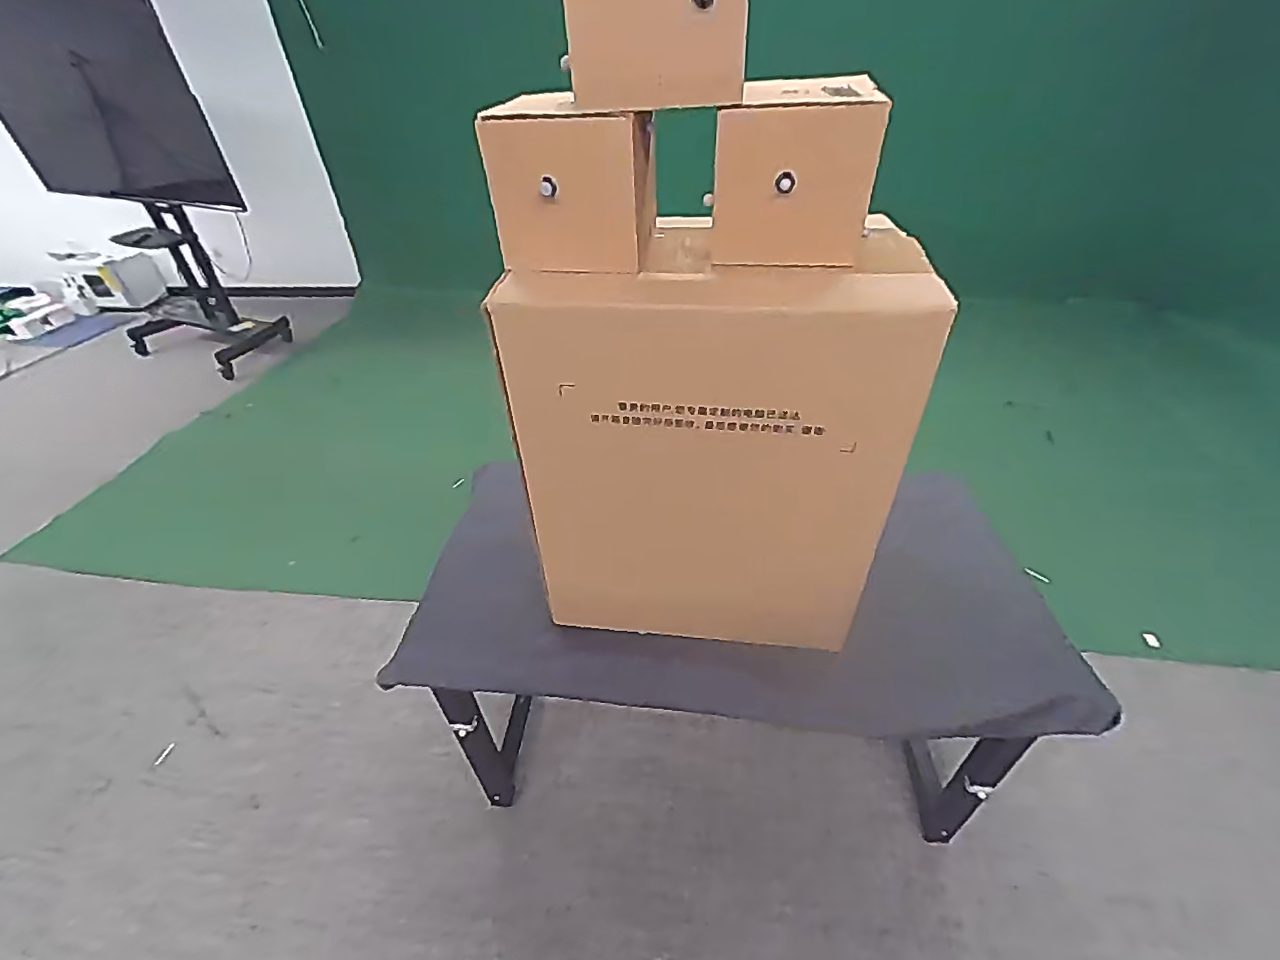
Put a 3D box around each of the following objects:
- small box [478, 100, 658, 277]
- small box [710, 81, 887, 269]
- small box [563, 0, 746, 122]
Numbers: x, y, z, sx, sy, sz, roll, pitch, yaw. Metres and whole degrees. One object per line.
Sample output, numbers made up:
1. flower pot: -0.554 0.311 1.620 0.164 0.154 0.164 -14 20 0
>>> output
1. small box: -0.076 -0.369 0.685 0.179 0.176 0.168 4 43 9
2. small box: 0.182 -0.371 0.665 0.179 0.176 0.168 4 43 10
3. small box: 0.015 -0.489 0.568 0.179 0.176 0.168 -4 41 2
